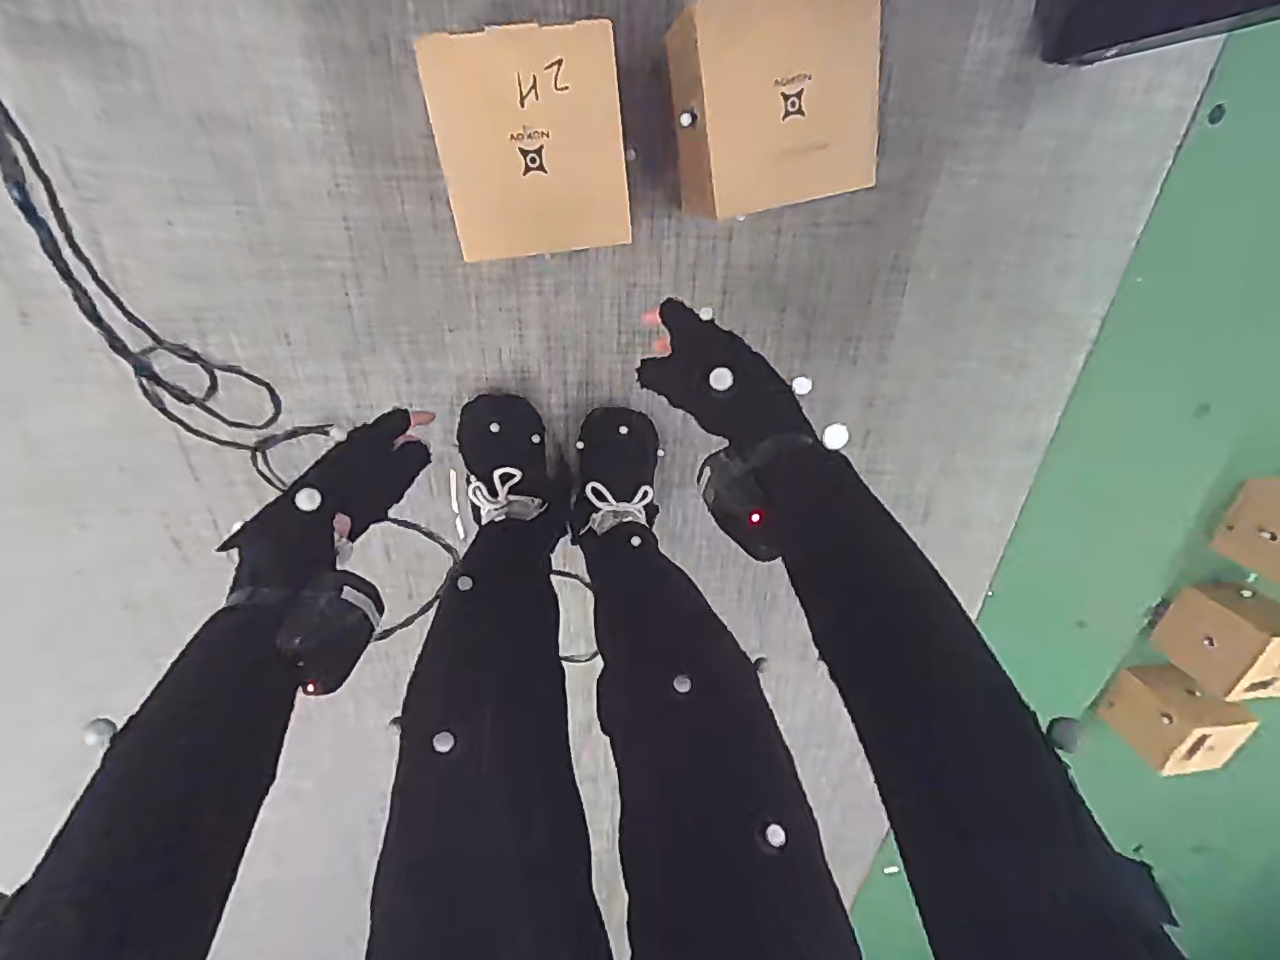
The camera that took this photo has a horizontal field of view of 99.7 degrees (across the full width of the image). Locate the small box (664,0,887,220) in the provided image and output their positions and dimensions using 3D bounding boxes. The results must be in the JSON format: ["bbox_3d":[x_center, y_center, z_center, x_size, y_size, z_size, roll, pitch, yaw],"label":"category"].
[{"bbox_3d":[0.127,-0.378,0.553,0.168,0.176,0.179,-13,119,-2],"label":"small box"}]

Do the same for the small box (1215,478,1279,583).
[{"bbox_3d":[1.261,0.103,1.008,0.179,0.176,0.168,-3,119,-7],"label":"small box"}]
